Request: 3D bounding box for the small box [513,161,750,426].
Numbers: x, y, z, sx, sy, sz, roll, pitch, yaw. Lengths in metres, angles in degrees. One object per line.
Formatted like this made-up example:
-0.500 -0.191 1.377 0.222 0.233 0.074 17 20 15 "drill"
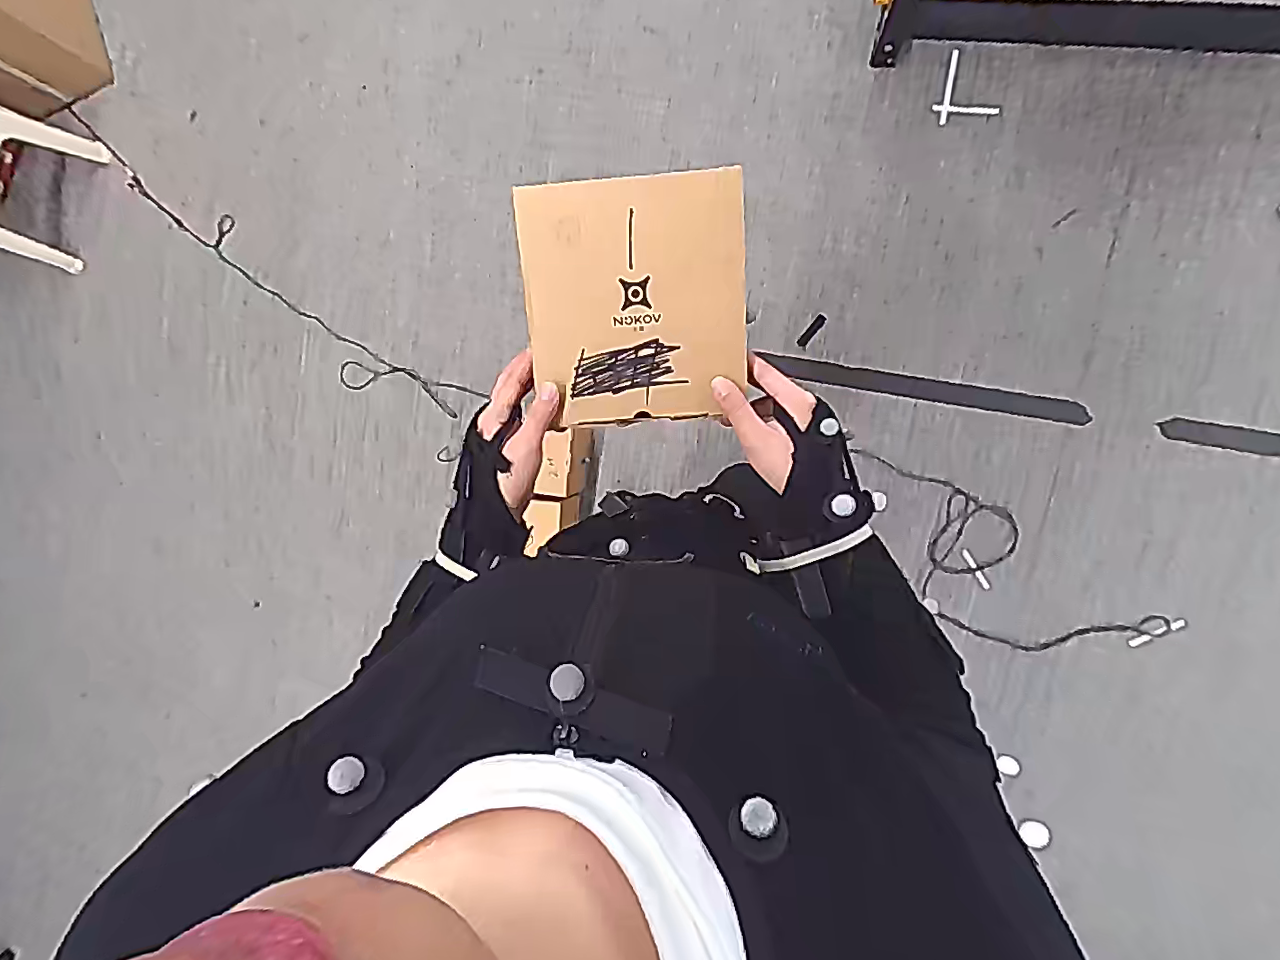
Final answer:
0.001 -0.149 0.467 0.168 0.176 0.179 -3 104 3 "small box"
